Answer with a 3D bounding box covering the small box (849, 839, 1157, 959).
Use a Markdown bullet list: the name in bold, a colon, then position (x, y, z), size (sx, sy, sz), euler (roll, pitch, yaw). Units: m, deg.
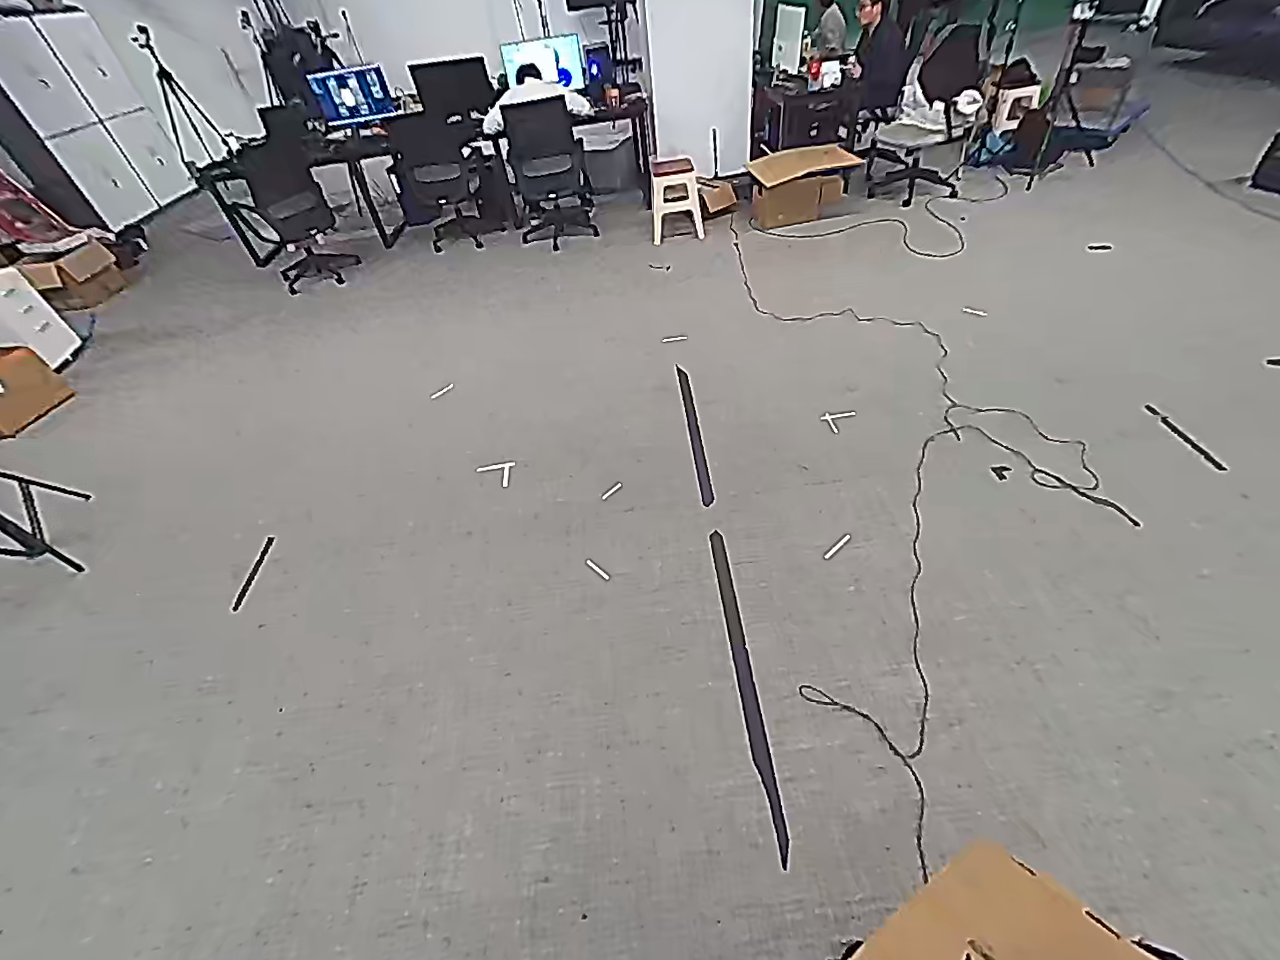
- **small box**: position (0.309, 0.441, 0.416), size (0.179, 0.168, 0.176), euler (-33, 85, -9)
